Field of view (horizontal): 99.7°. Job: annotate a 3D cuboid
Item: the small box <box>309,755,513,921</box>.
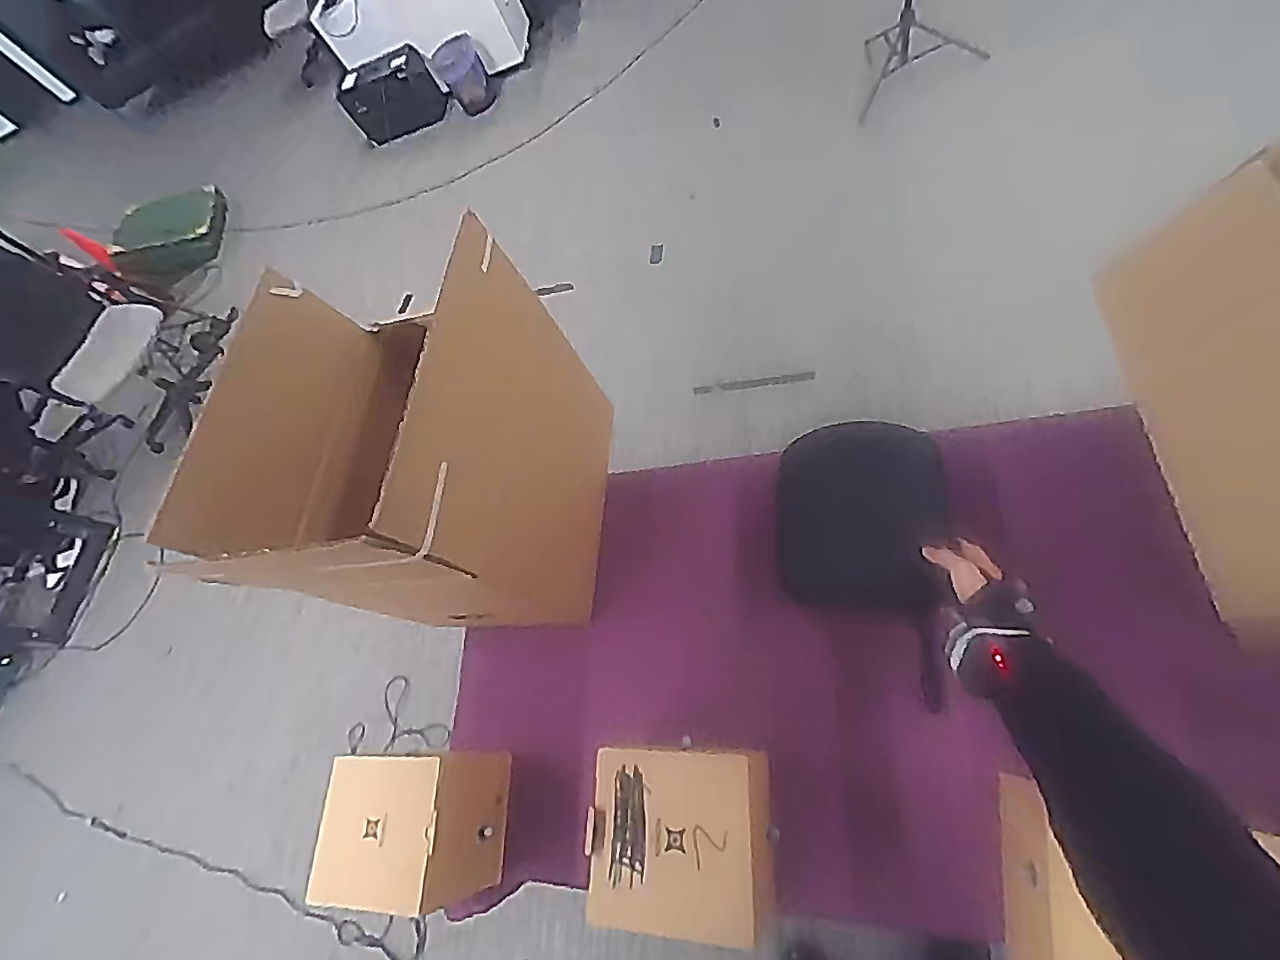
[{"bbox_3d":[-0.300,0.475,0.744,0.179,0.176,0.168,-9,63,17],"label":"small box"}]
